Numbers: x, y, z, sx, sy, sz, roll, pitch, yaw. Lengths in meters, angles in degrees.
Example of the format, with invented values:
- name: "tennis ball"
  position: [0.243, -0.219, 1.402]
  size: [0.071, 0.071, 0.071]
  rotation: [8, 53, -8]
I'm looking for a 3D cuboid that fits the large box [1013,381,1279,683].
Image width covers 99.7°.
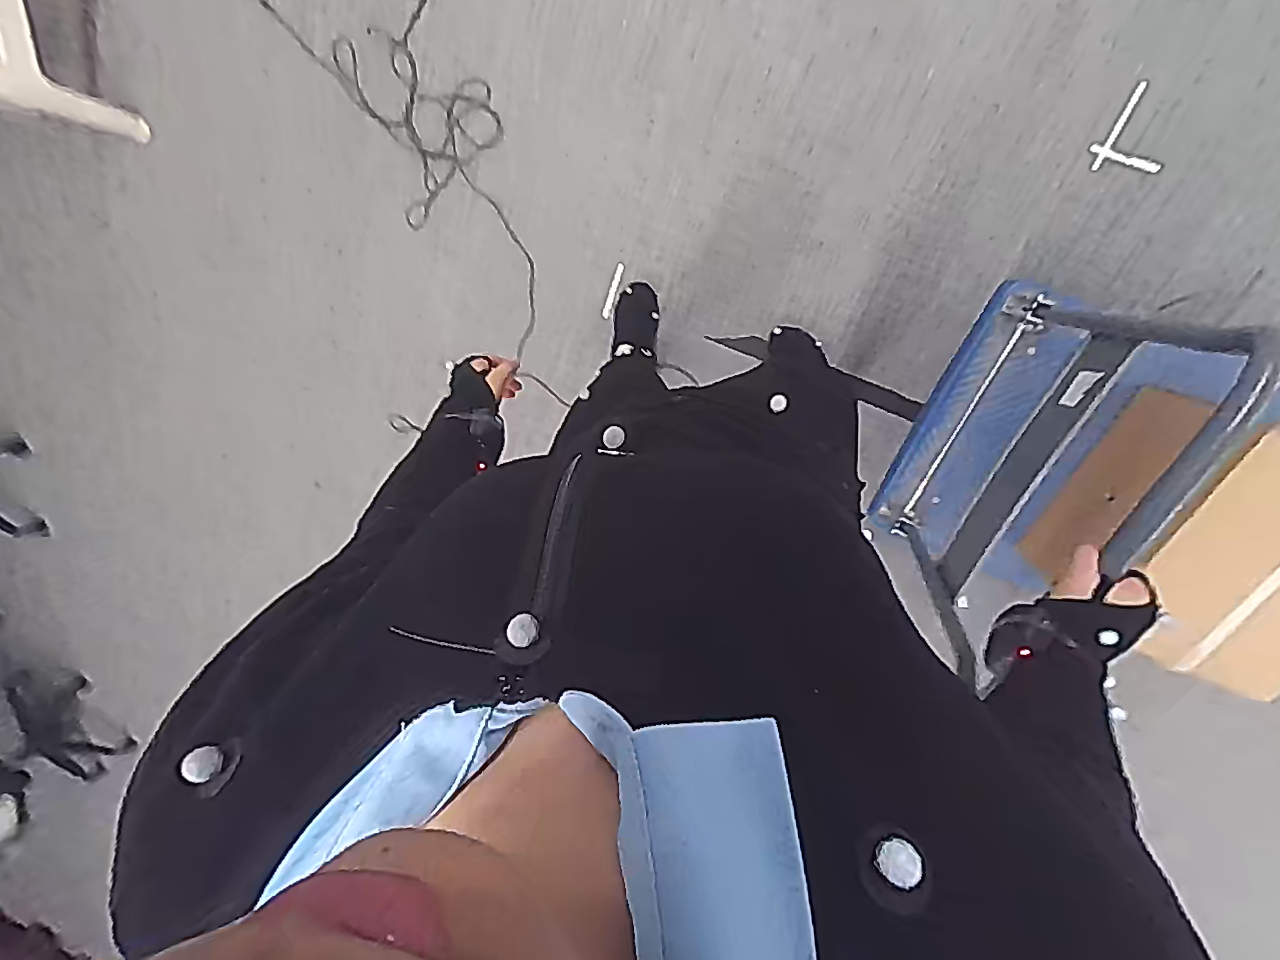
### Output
- name: "large box"
  position: [1.006, 0.076, 1.002]
  size: [0.320, 0.320, 0.408]
  rotation: [22, 112, 3]
